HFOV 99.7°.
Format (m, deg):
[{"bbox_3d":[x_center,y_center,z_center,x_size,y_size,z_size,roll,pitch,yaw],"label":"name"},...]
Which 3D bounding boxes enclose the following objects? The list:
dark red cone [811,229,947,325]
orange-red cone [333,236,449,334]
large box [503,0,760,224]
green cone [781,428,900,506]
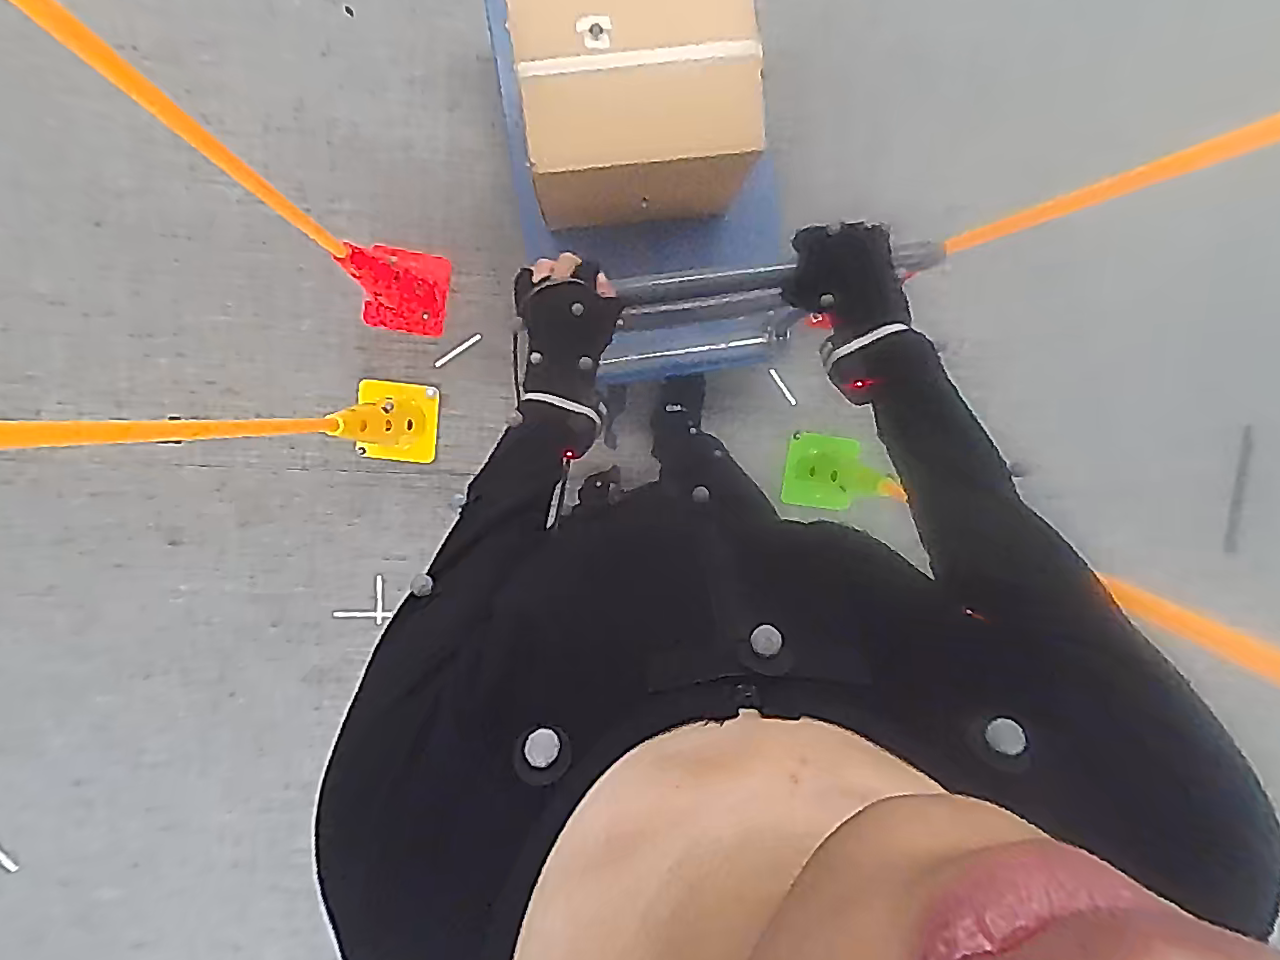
[{"bbox_3d":[0.559,-0.489,1.242,0.201,0.394,0.202,3,98,-6],"label":"dark red cone"},{"bbox_3d":[-0.573,-0.460,1.183,0.198,0.360,0.199,10,95,-6],"label":"orange-red cone"},{"bbox_3d":[-0.017,-0.718,1.042,0.408,0.320,0.320,-8,99,-2],"label":"large box"},{"bbox_3d":[0.509,-0.012,1.317,0.202,0.368,0.200,6,97,-6],"label":"green cone"}]
